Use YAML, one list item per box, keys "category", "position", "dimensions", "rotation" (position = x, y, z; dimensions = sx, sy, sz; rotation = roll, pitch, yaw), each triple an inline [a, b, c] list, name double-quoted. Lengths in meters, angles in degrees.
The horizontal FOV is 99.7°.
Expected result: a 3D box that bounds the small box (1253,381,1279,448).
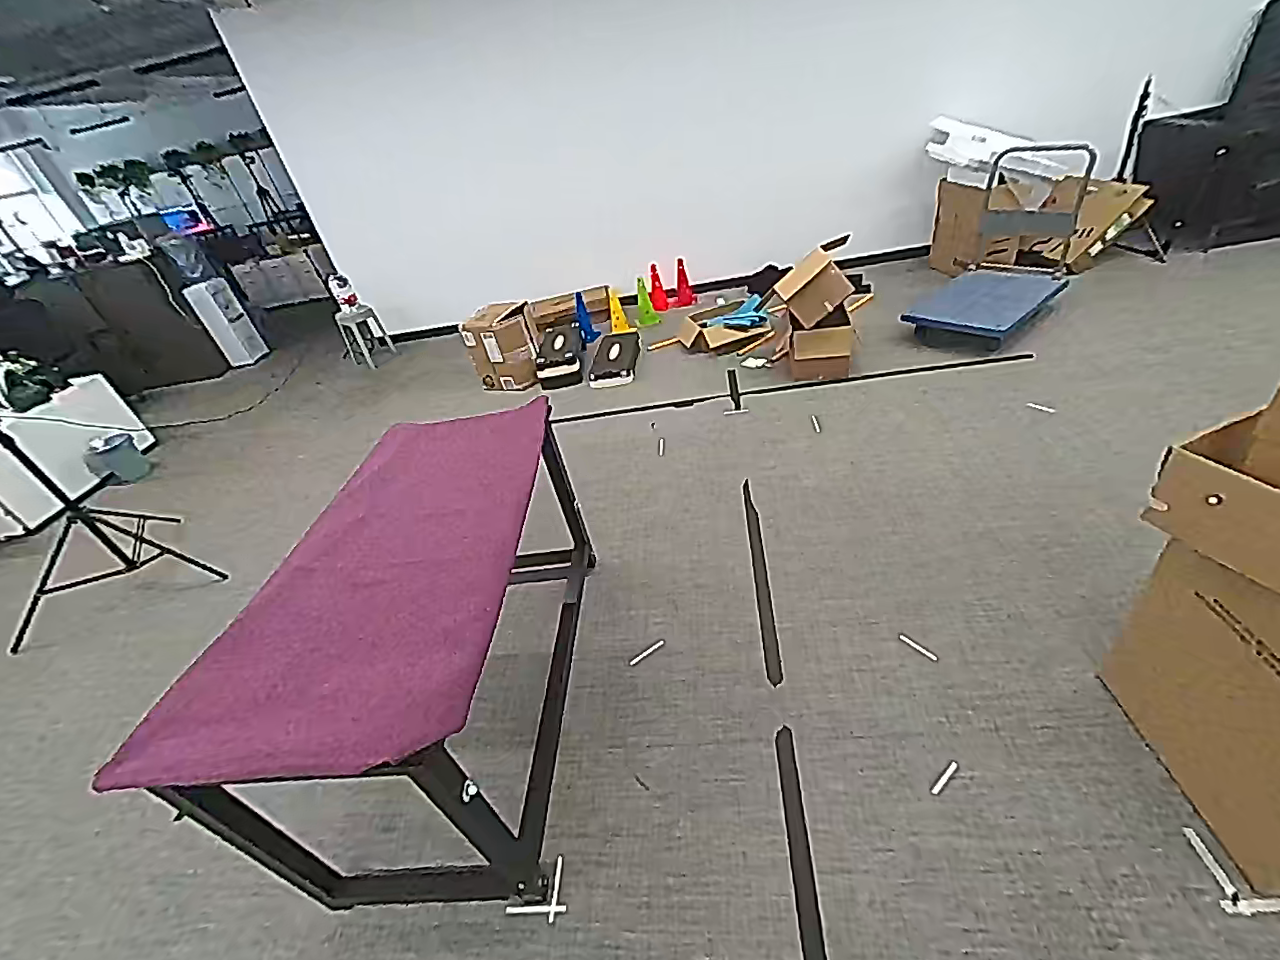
- category: "small box"
  position: [1.220, -0.129, 0.905]
  dimensions: [0.168, 0.176, 0.179]
  rotation: [-22, 36, -11]
